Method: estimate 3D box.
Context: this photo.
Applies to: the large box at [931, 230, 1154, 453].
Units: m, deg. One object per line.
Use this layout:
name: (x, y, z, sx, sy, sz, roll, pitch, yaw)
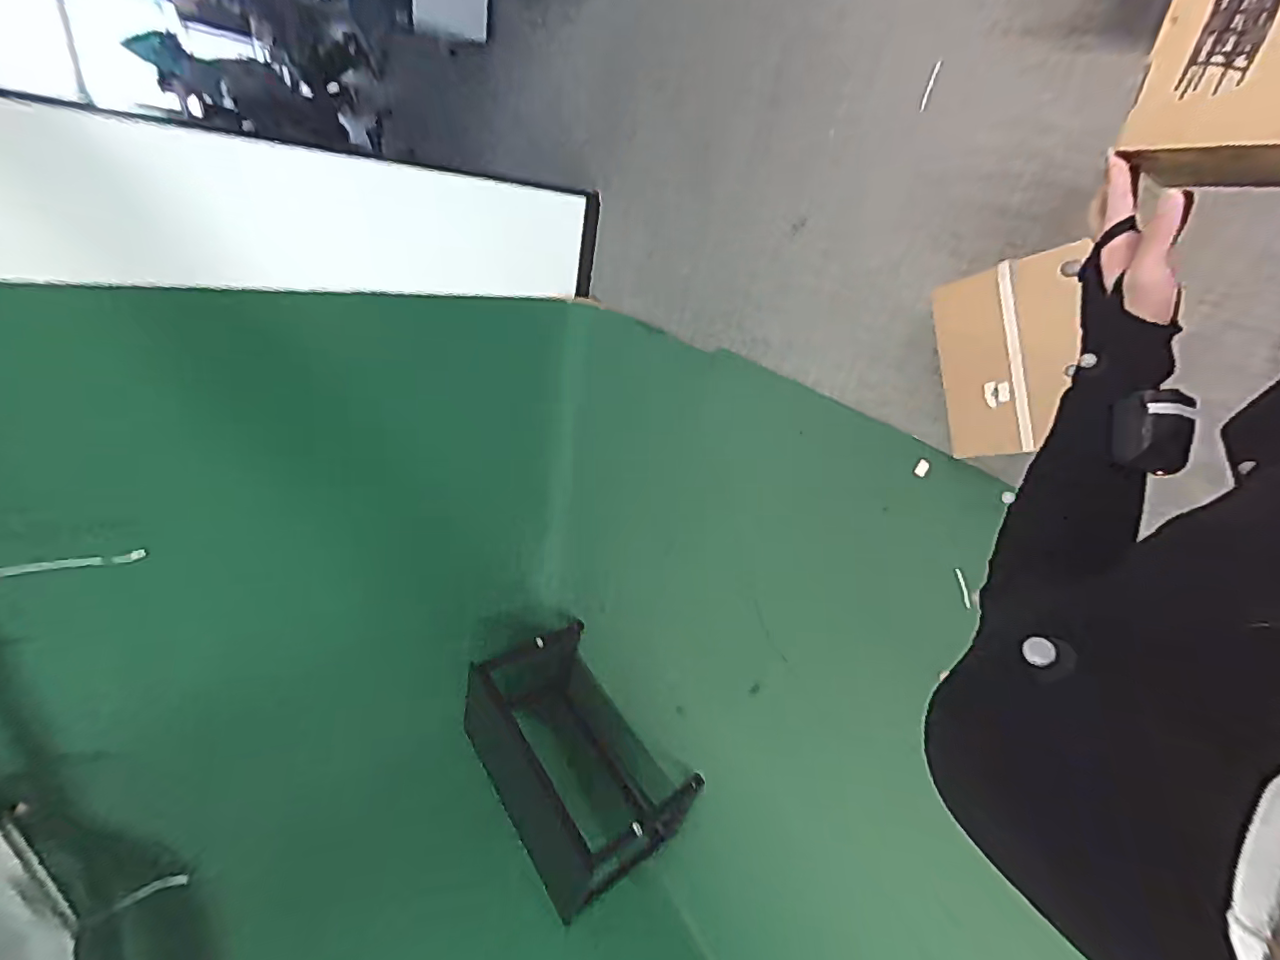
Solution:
large box: (0.924, -0.301, 1.241, 0.320, 0.320, 0.408, -7, 96, 53)
